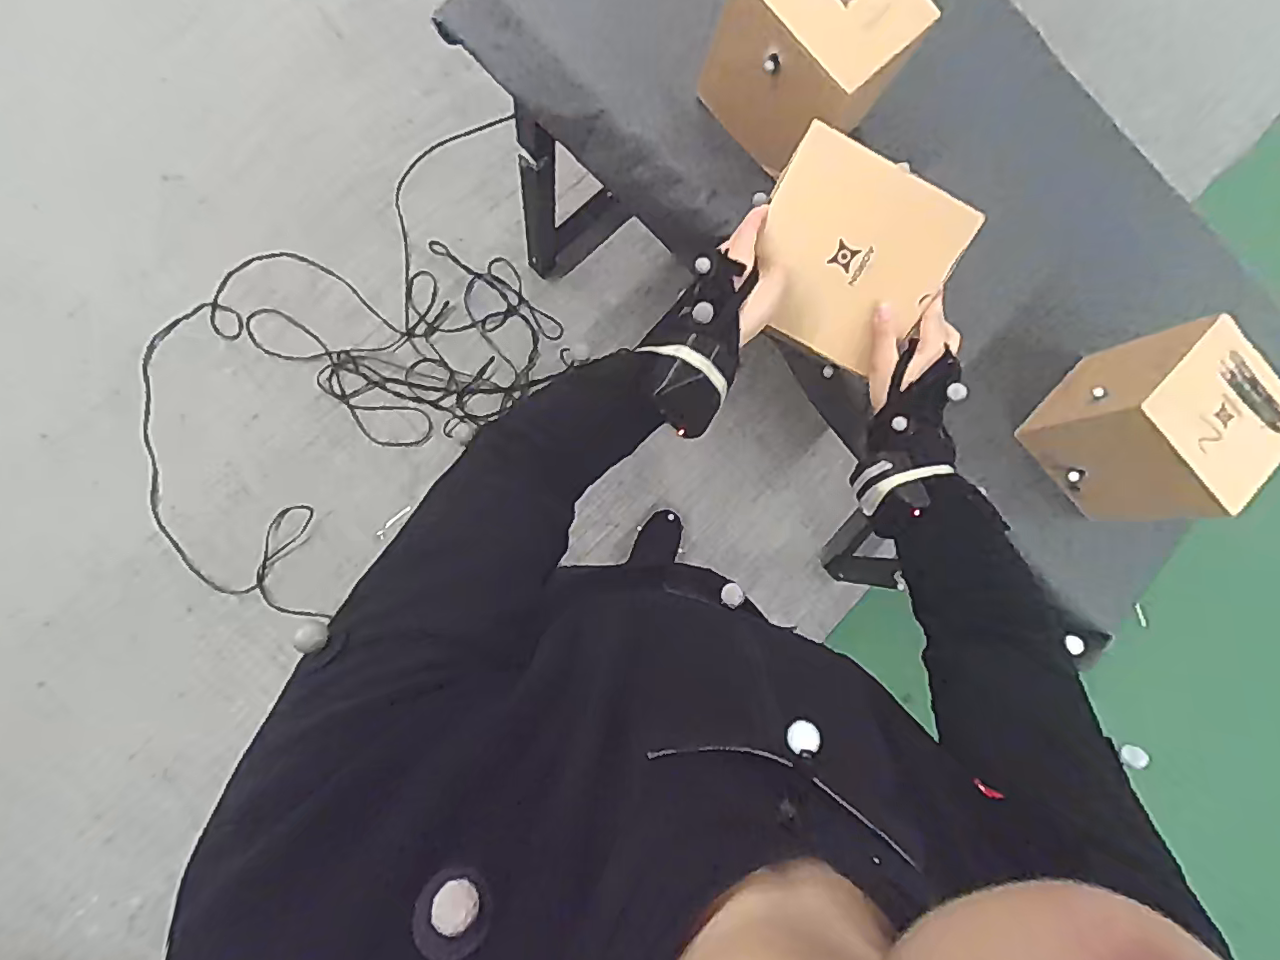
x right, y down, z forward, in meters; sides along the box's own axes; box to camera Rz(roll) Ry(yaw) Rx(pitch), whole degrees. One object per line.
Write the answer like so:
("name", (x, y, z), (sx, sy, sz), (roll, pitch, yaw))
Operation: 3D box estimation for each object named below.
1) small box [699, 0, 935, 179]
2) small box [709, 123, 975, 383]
("small box", (0.198, -0.509, 0.657), (0.168, 0.176, 0.179), (-44, 93, -10))
("small box", (0.183, -0.218, 0.559), (0.179, 0.176, 0.168), (26, 107, -4))
